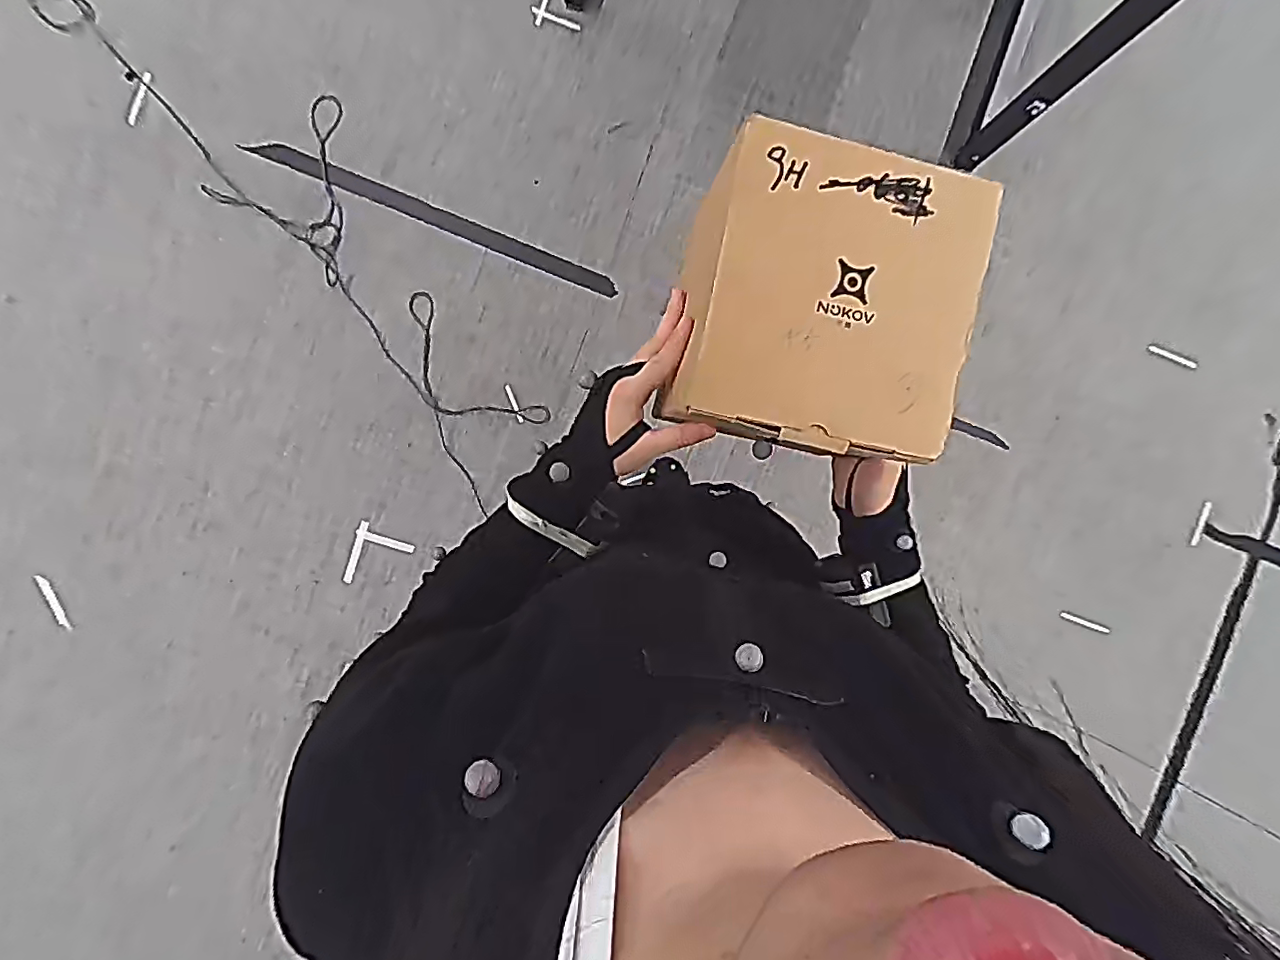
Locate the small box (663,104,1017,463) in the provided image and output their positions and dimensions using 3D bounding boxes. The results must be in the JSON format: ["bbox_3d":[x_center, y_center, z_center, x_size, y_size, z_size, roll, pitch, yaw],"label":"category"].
[{"bbox_3d":[0.119,-0.119,0.397,0.168,0.176,0.179,11,95,-8],"label":"small box"}]
